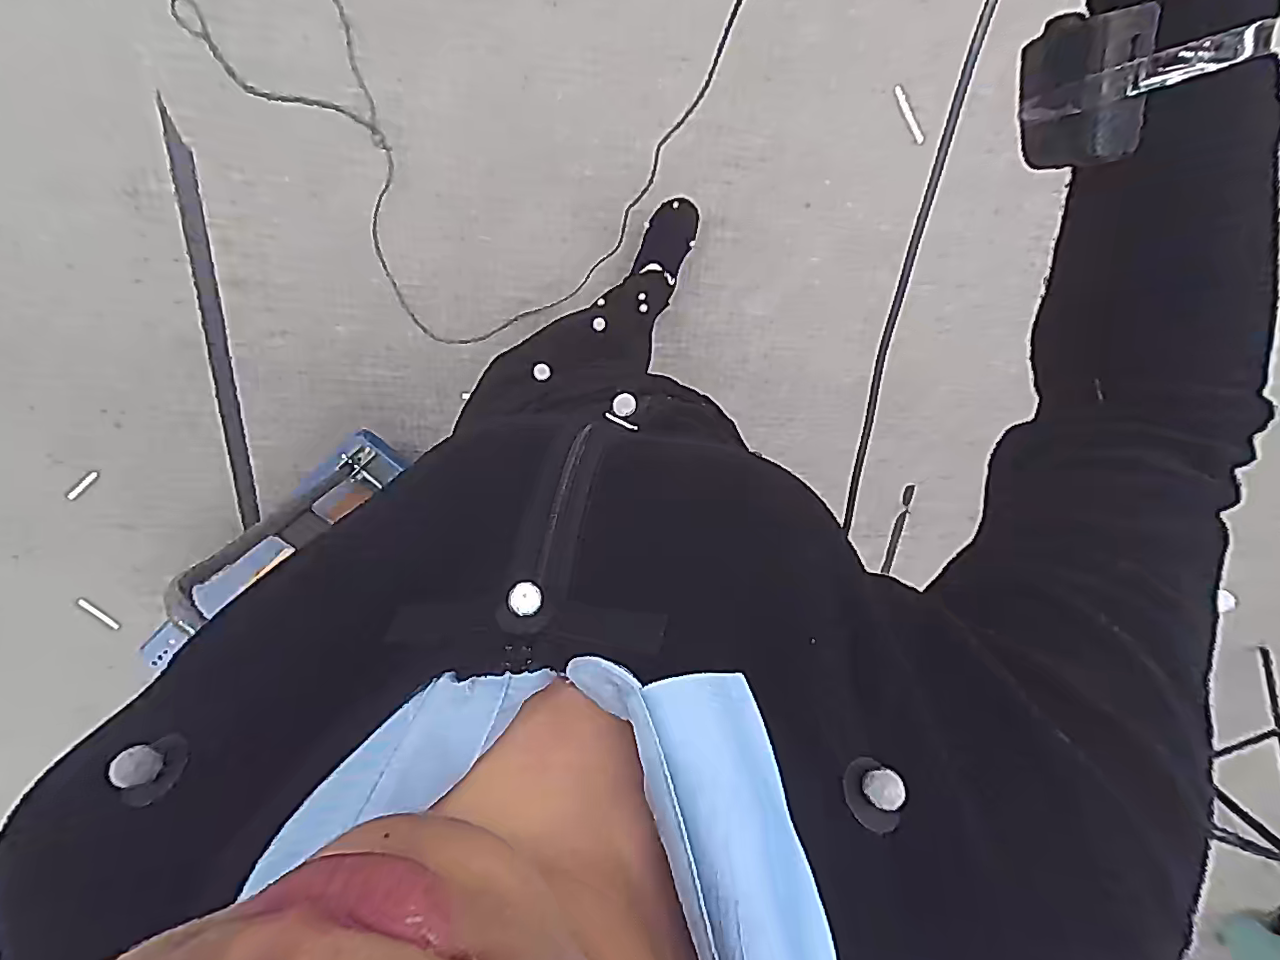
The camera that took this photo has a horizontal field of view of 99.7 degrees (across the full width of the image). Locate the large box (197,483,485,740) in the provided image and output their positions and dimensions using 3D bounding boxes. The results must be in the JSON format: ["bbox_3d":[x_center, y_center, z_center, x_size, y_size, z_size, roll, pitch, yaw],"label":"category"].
[{"bbox_3d":[-0.625,0.282,1.216,0.320,0.320,0.408,-41,108,9],"label":"large box"}]
